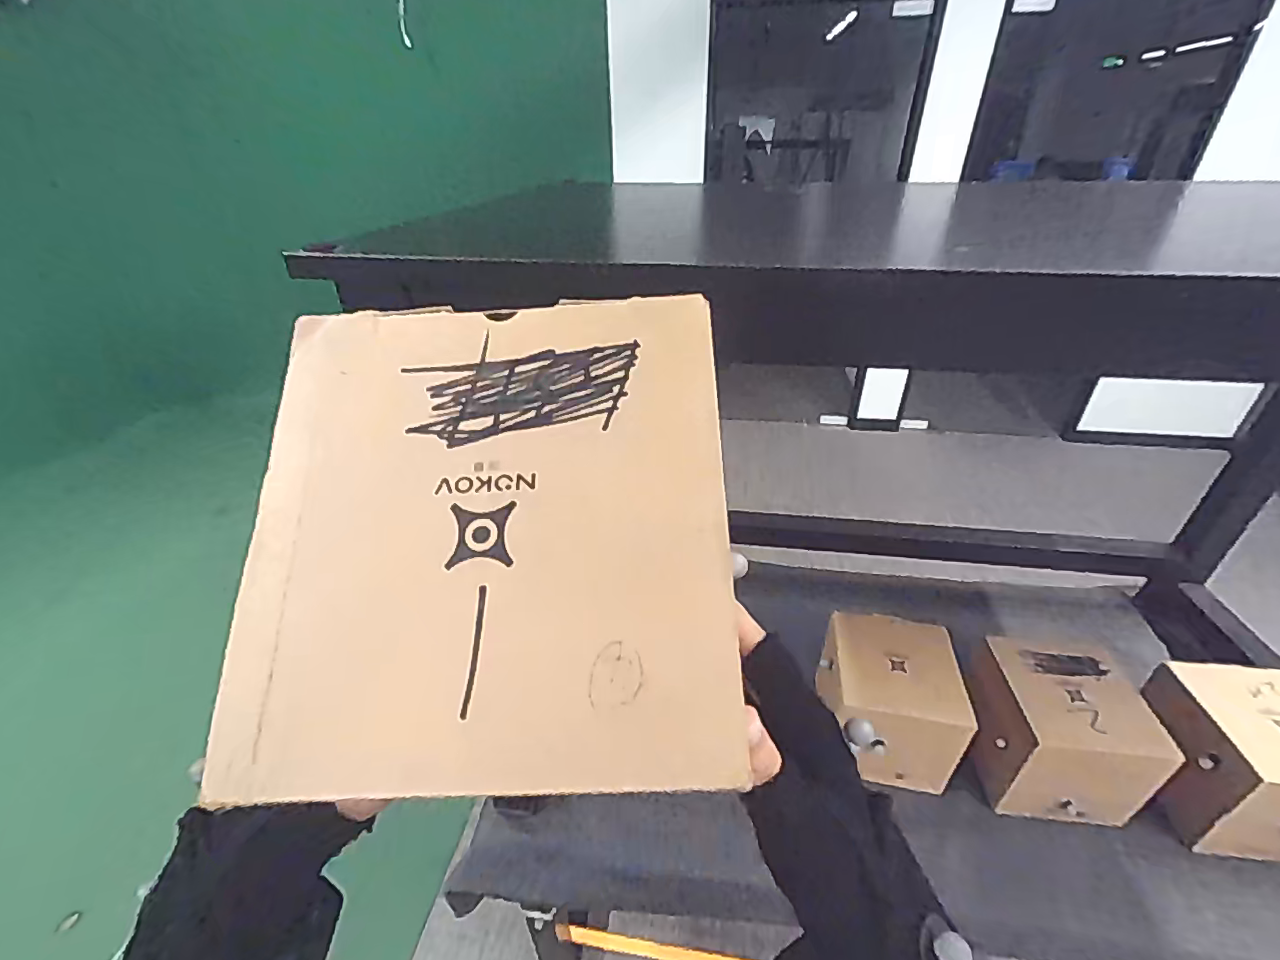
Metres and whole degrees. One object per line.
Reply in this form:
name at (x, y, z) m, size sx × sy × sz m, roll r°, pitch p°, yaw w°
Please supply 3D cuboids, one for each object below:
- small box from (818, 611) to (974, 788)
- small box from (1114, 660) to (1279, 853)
small box at (0.369, 0.328, 0.815) m, size 0.168 × 0.176 × 0.179 m, roll 6°, pitch 33°, yaw 11°
small box at (0.806, 0.372, 0.727) m, size 0.168 × 0.176 × 0.179 m, roll 3°, pitch 32°, yaw 6°
